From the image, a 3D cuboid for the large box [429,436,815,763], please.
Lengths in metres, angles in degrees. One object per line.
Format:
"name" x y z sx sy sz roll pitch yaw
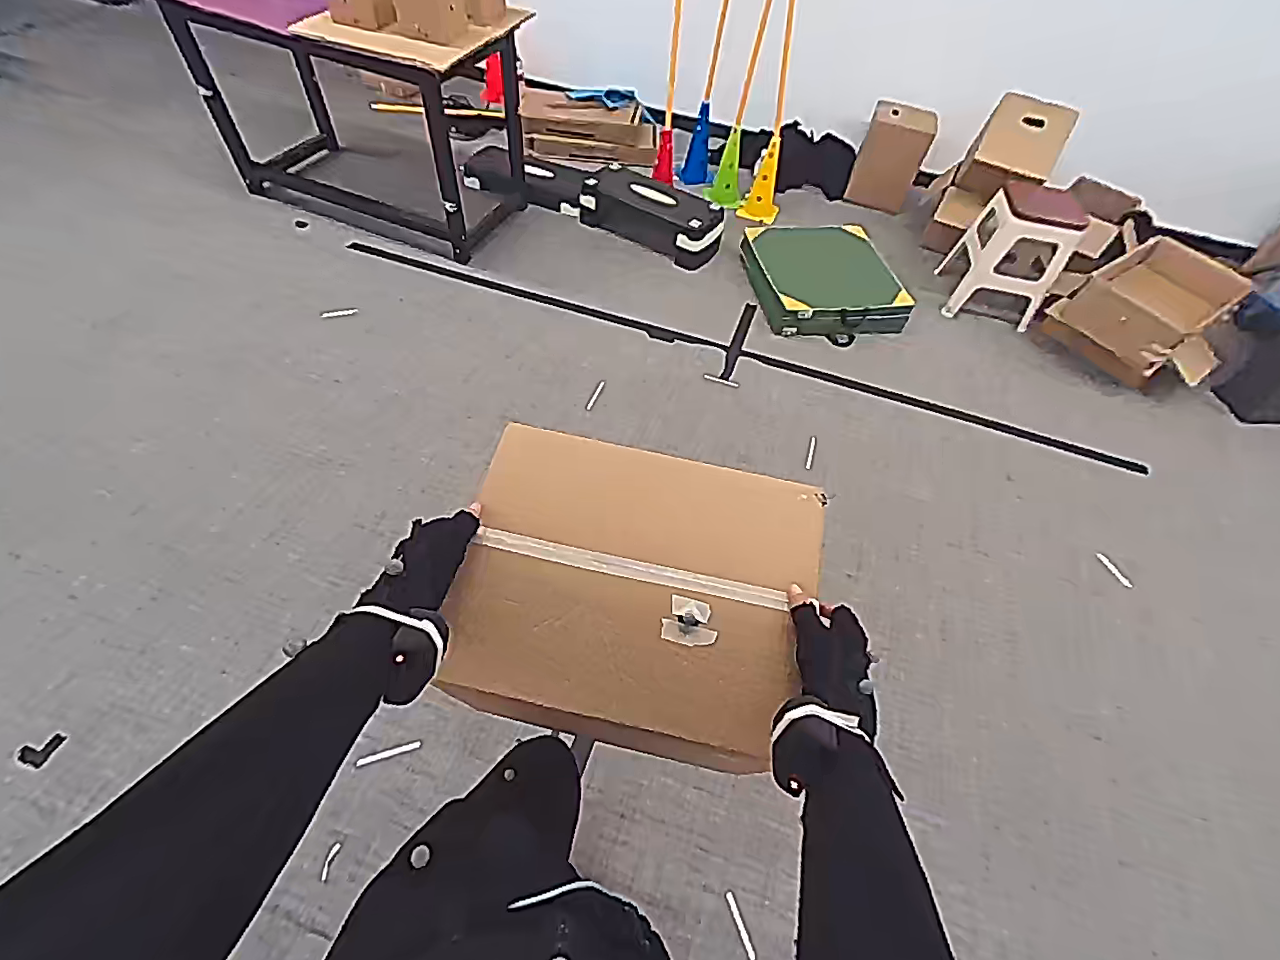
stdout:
"large box" -0.011 0.181 0.755 0.408 0.320 0.320 12 61 2
